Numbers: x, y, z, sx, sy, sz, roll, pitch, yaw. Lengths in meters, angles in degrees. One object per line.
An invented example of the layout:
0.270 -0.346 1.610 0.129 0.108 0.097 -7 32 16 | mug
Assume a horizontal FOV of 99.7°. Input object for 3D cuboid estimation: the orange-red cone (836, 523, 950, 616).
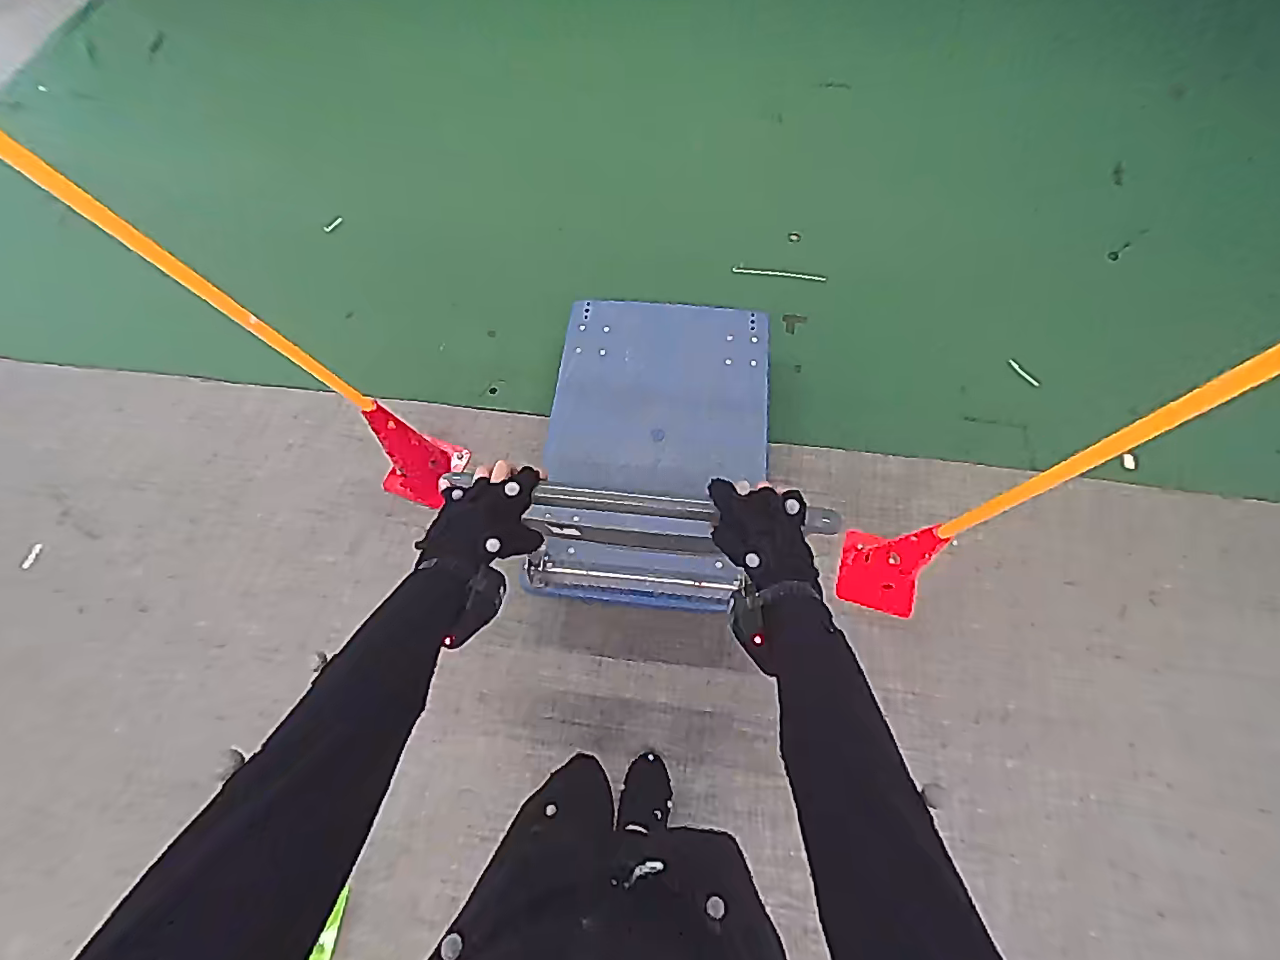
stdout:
0.629 0.176 1.277 0.198 0.360 0.199 17 69 9 | orange-red cone
